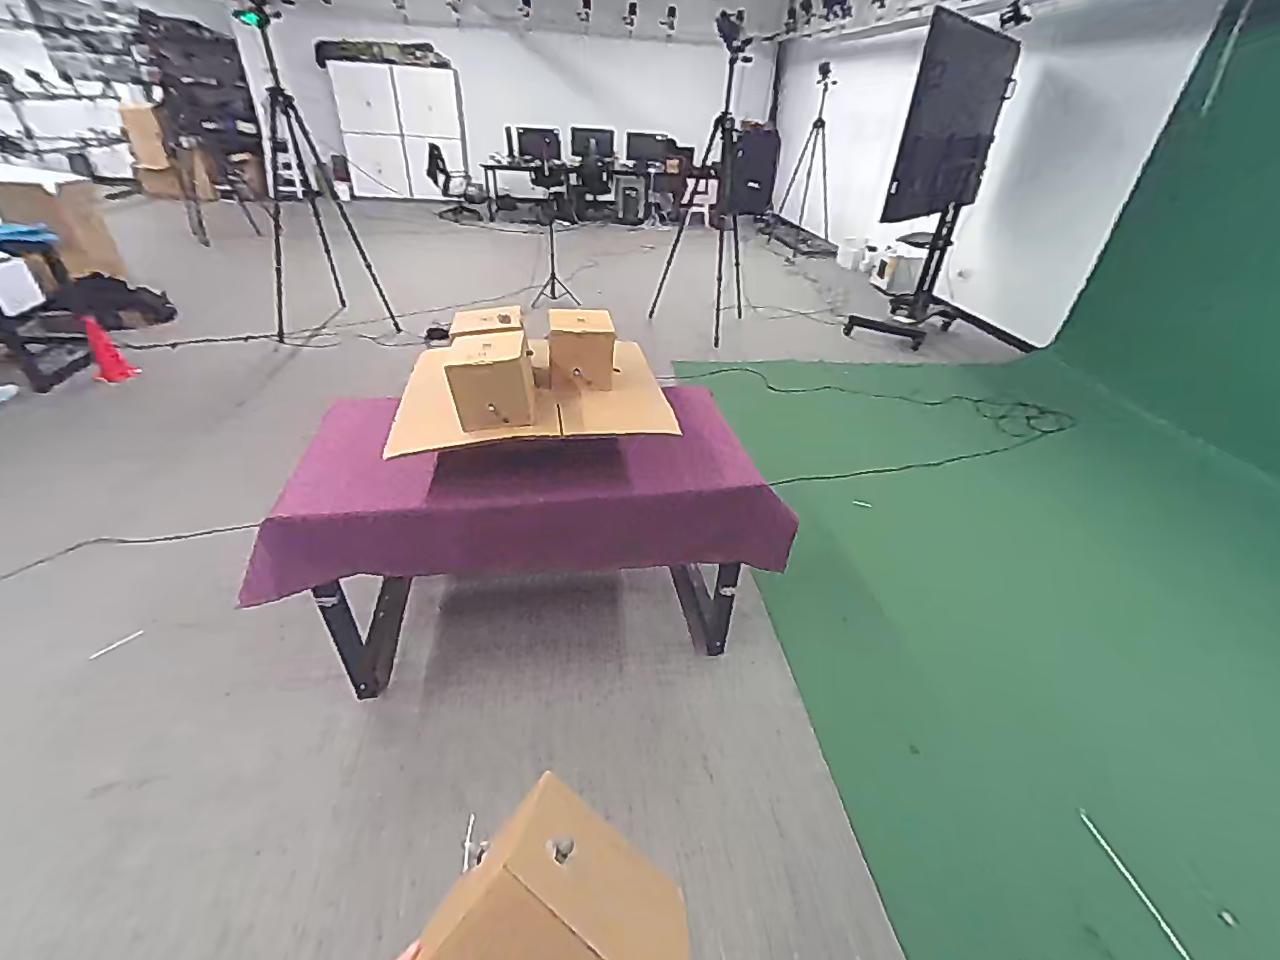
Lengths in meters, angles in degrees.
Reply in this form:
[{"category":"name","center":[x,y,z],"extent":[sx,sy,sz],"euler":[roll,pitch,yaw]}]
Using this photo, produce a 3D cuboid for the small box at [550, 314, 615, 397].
[{"category":"small box","center":[-0.163,-0.342,1.483],"extent":[0.168,0.176,0.179],"euler":[-1,35,-10]}]
